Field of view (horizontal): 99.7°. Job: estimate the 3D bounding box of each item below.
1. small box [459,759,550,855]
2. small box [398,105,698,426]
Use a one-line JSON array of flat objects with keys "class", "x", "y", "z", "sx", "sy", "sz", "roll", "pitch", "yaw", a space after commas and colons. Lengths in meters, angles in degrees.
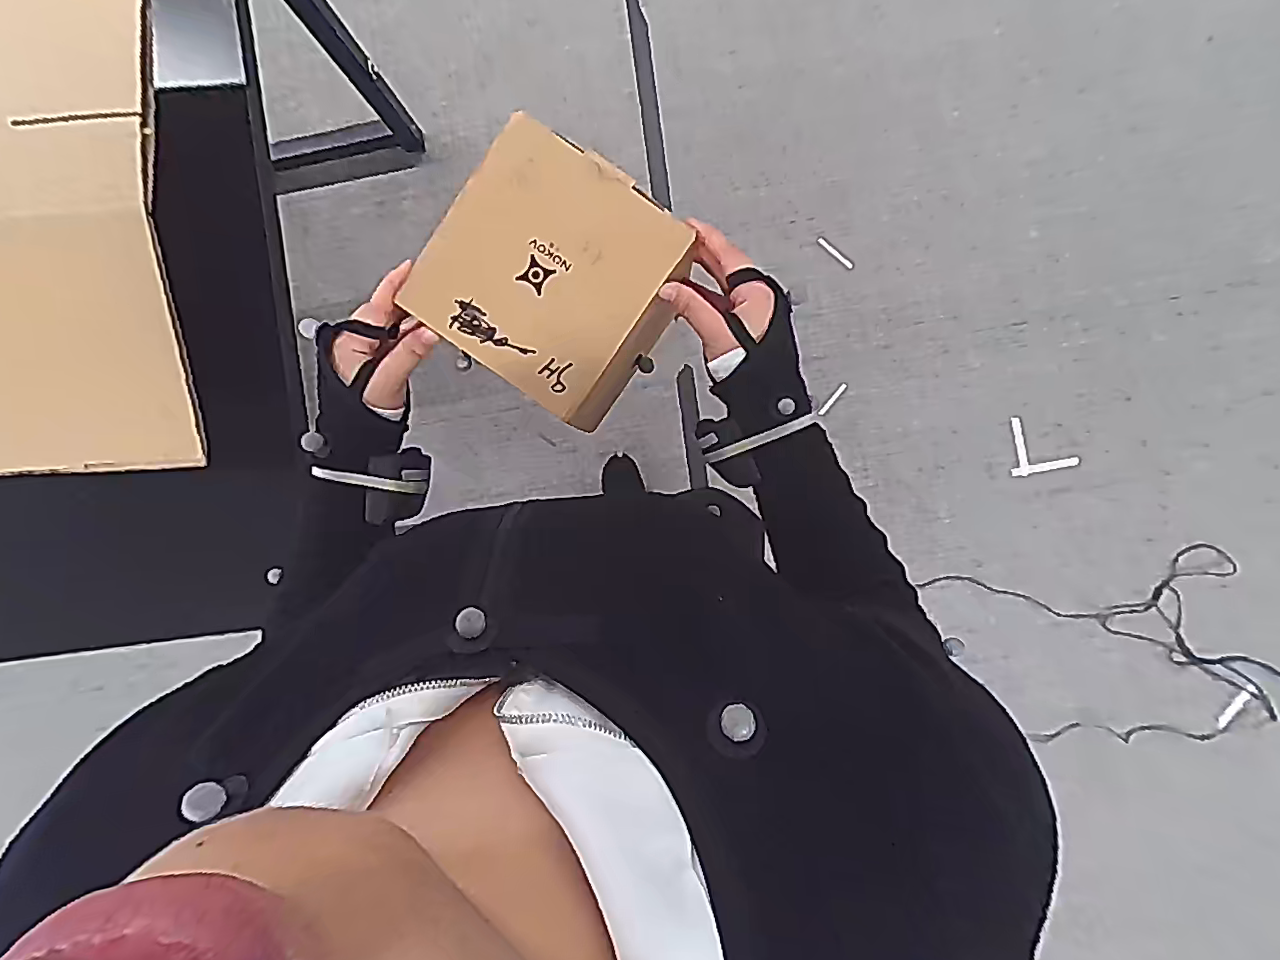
[{"class": "small box", "x": -0.354, "y": 0.873, "z": 1.438, "sx": 0.179, "sy": 0.176, "sz": 0.168, "roll": -12, "pitch": 90, "yaw": 3}, {"class": "small box", "x": -0.070, "y": -0.168, "z": 0.487, "sx": 0.168, "sy": 0.176, "sz": 0.179, "roll": 35, "pitch": 91, "yaw": 1}]
